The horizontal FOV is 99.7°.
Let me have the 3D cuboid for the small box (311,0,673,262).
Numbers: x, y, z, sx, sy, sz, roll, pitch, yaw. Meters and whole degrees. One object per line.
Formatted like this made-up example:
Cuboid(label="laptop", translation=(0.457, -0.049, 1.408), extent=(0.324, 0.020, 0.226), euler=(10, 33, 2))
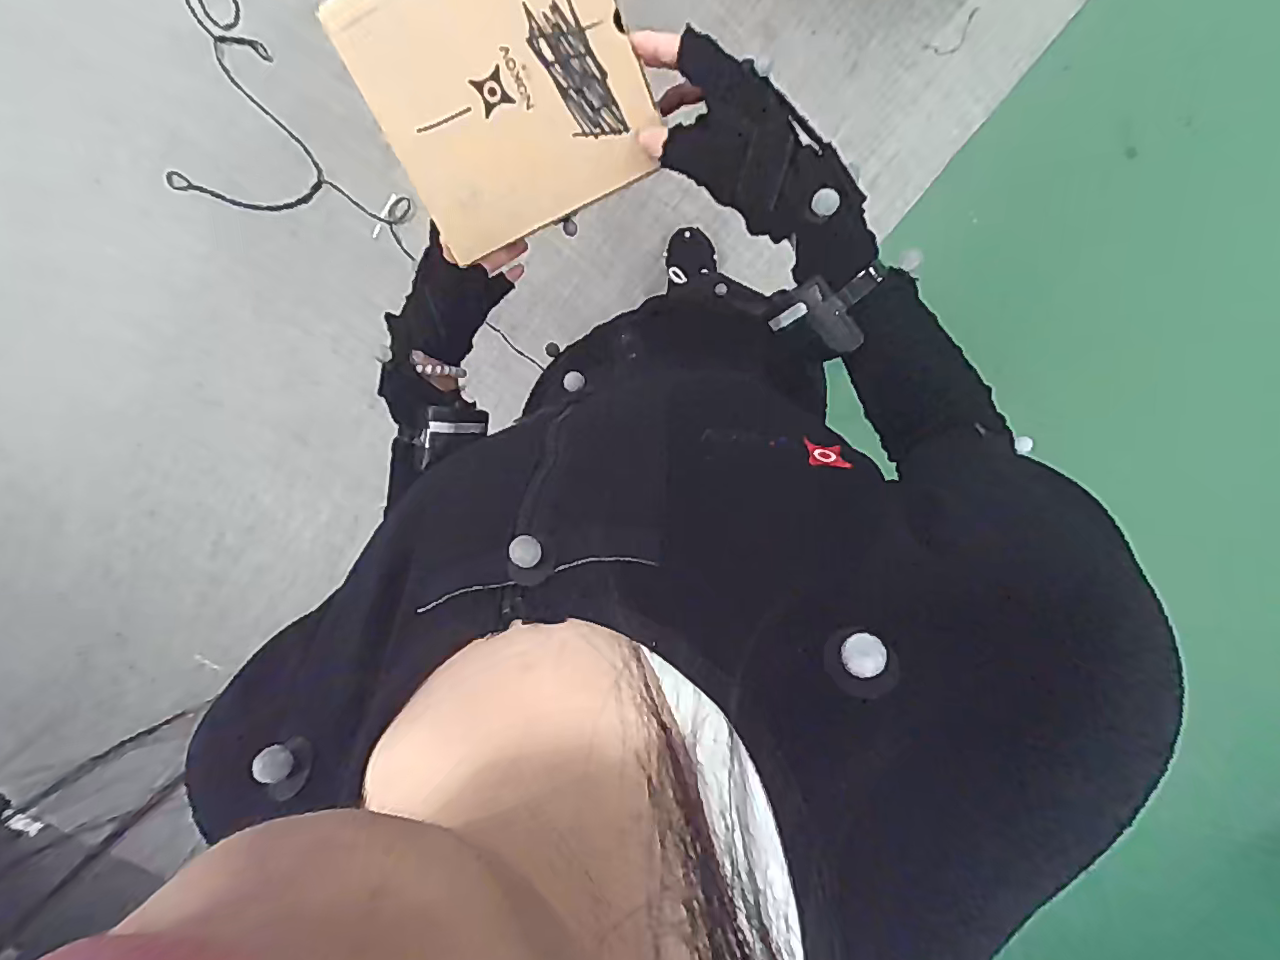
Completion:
Cuboid(label="small box", translation=(-0.089, -0.292, 0.411), extent=(0.179, 0.176, 0.168), euler=(-21, 117, 11))
